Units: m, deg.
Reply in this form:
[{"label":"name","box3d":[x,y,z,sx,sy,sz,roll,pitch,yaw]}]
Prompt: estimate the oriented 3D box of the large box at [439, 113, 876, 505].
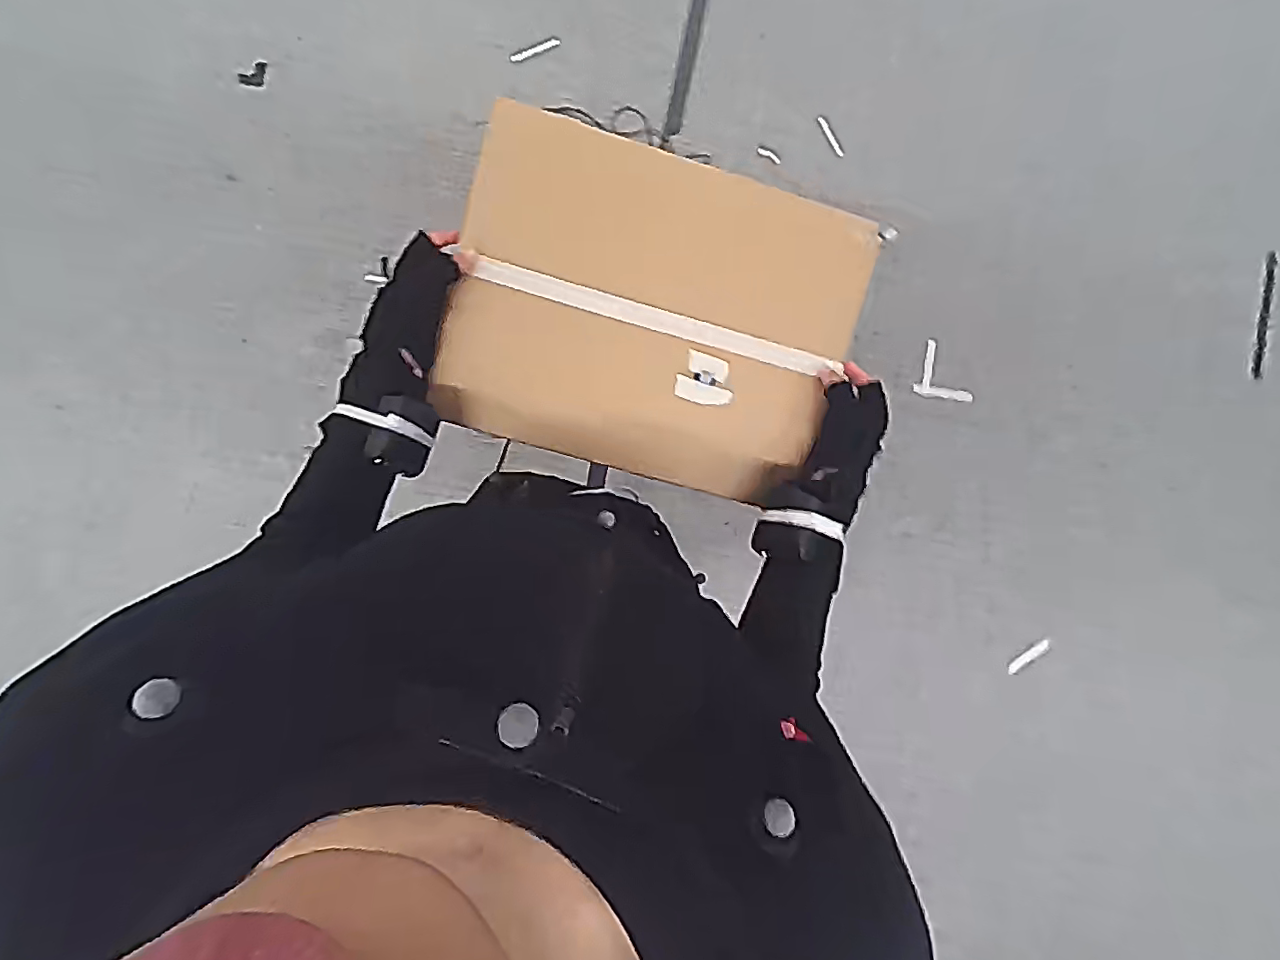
[{"label":"large box","box3d":[0.008,-0.184,0.710,0.408,0.320,0.320,16,96,-6]}]
